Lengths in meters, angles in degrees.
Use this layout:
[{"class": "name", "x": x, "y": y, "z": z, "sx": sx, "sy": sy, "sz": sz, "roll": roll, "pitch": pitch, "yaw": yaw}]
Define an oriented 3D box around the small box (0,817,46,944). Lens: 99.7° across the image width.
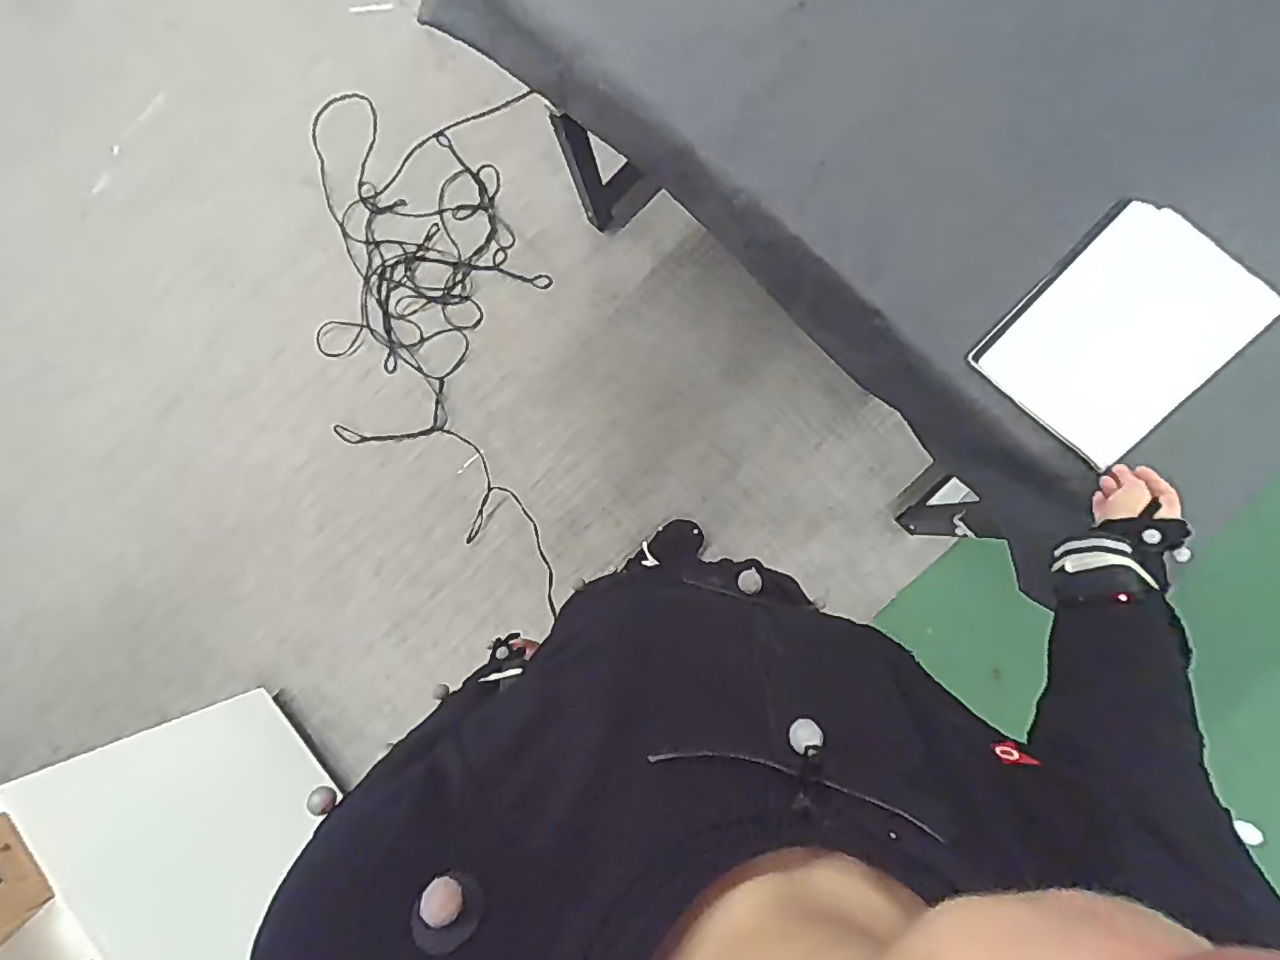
[{"class": "small box", "x": -1.050, "y": 0.648, "z": 0.785, "sx": 0.179, "sy": 0.176, "sz": 0.168, "roll": -42, "pitch": 82, "yaw": 2}]
